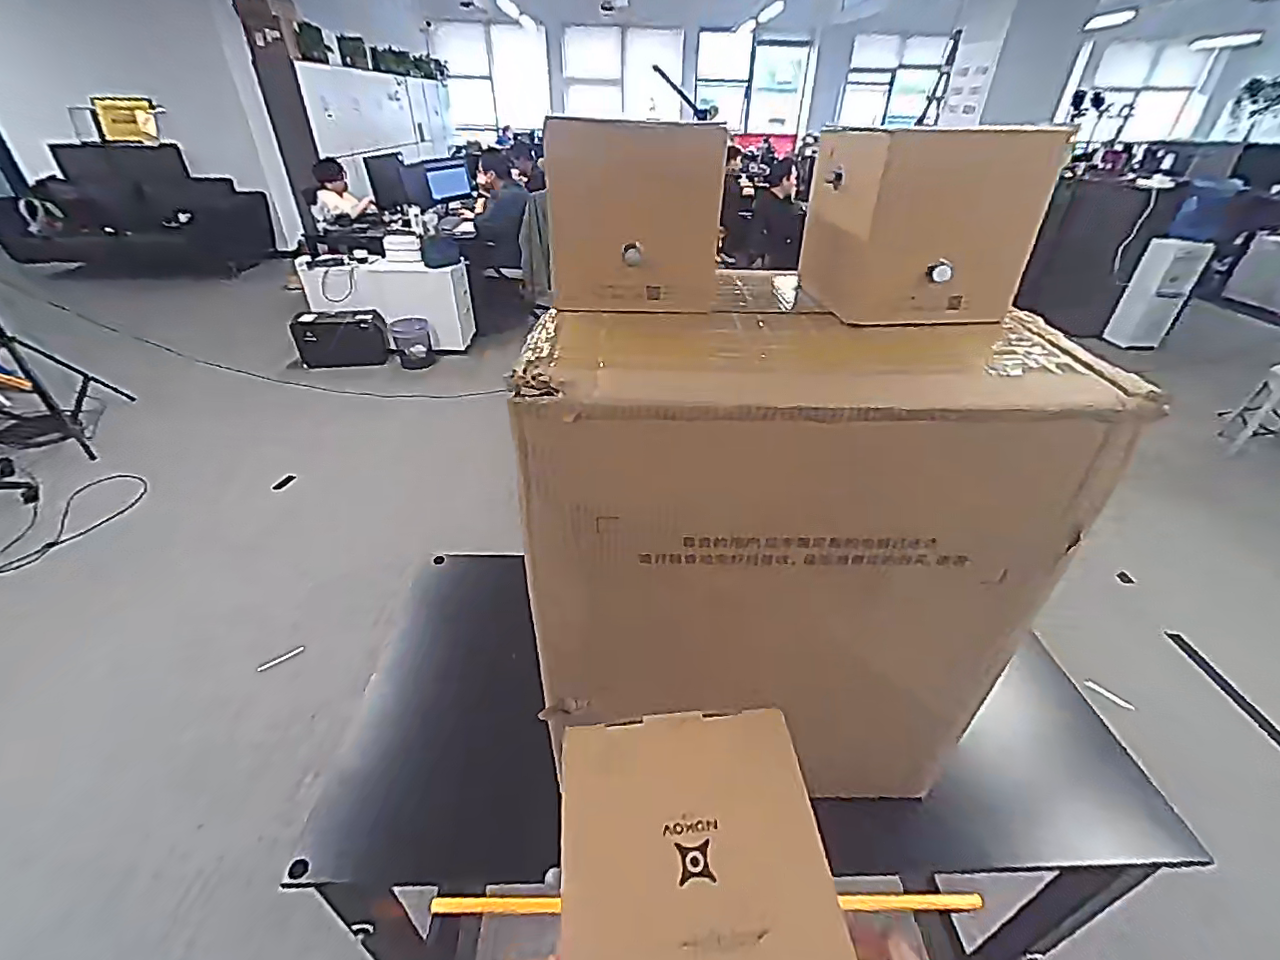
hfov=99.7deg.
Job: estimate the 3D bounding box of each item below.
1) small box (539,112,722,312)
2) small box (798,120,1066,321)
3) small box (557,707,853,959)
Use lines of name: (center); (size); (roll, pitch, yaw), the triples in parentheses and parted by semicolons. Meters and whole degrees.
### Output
small box: (-0.015, -0.292, 0.589); (0.168, 0.176, 0.179); (-1, 33, -4)
small box: (0.279, -0.275, 0.571); (0.168, 0.176, 0.179); (-2, 33, -3)
small box: (0.031, 0.289, 0.388); (0.168, 0.176, 0.179); (-3, 43, -3)
